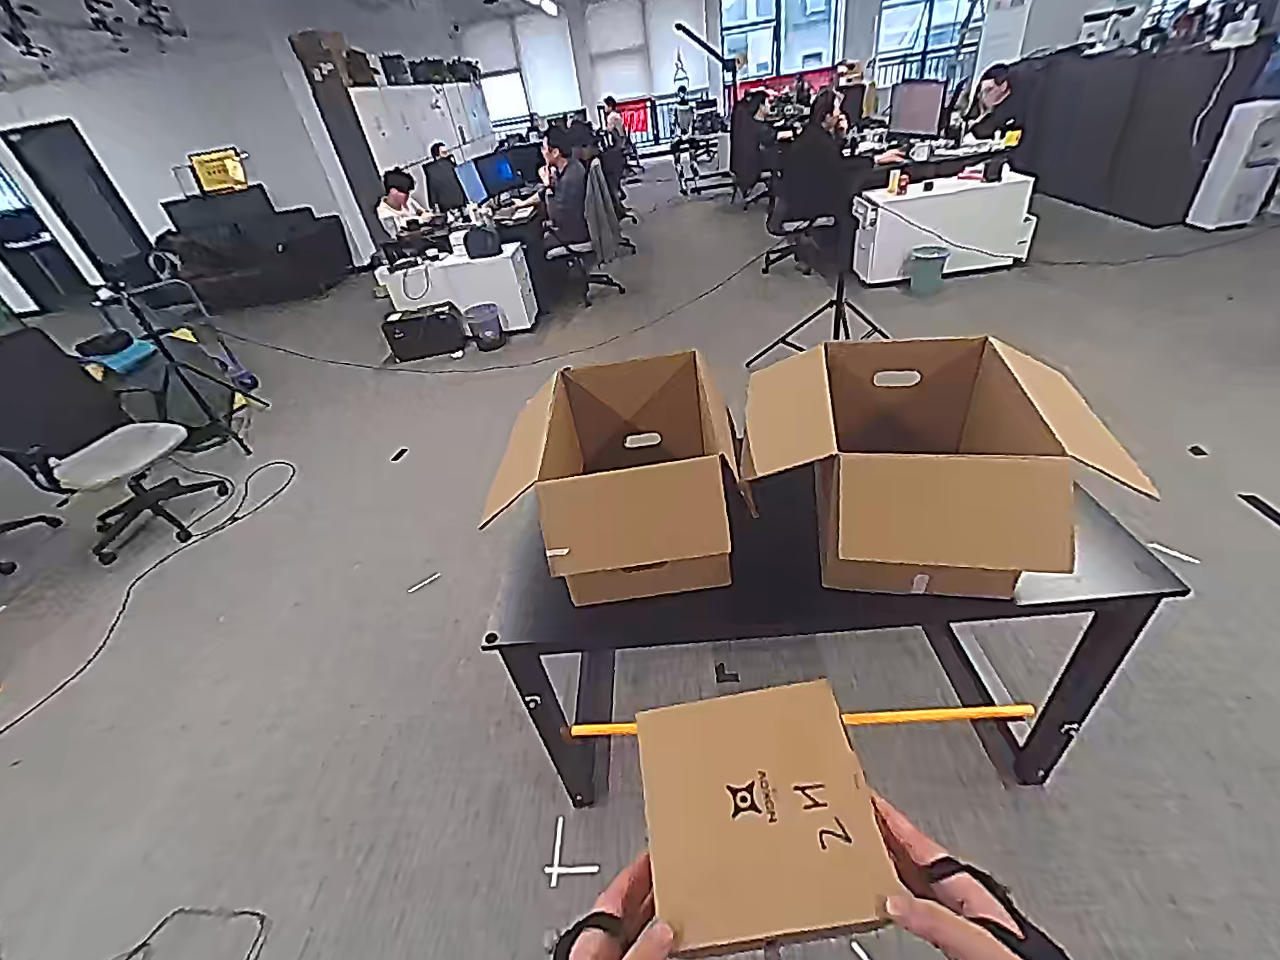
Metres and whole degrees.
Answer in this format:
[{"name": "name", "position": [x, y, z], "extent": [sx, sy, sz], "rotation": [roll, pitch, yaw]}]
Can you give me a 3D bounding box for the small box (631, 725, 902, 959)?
[{"name": "small box", "position": [0.097, 0.337, 0.471], "extent": [0.179, 0.176, 0.168], "rotation": [-11, 47, 3]}]
